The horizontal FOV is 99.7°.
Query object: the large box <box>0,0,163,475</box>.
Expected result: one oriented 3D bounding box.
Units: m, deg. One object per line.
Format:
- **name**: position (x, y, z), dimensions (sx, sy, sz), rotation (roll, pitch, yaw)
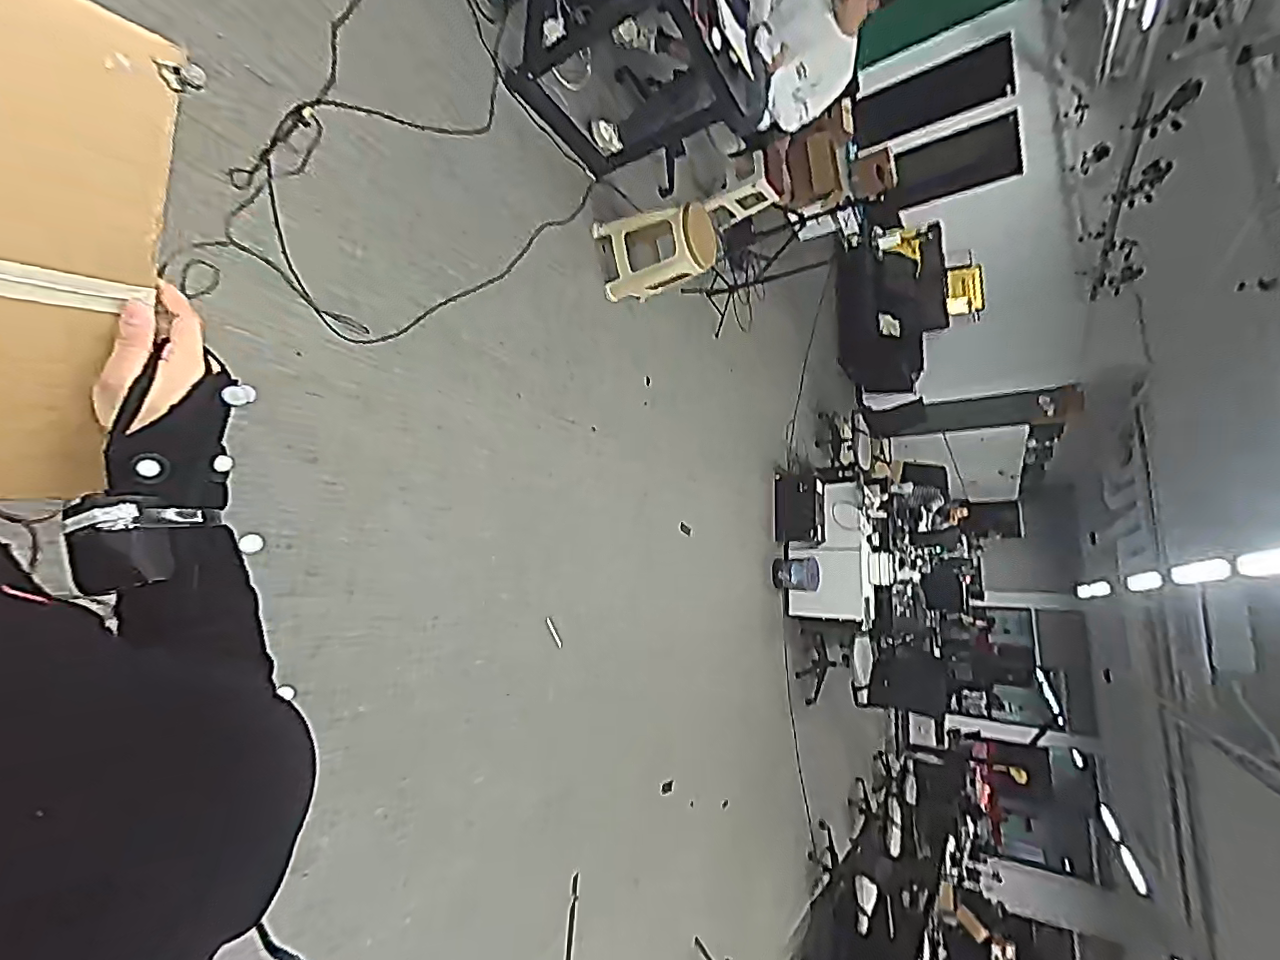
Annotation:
- **large box**: position (-0.568, -0.202, 0.284), dimensions (0.408, 0.320, 0.320), rotation (-5, 127, -55)
